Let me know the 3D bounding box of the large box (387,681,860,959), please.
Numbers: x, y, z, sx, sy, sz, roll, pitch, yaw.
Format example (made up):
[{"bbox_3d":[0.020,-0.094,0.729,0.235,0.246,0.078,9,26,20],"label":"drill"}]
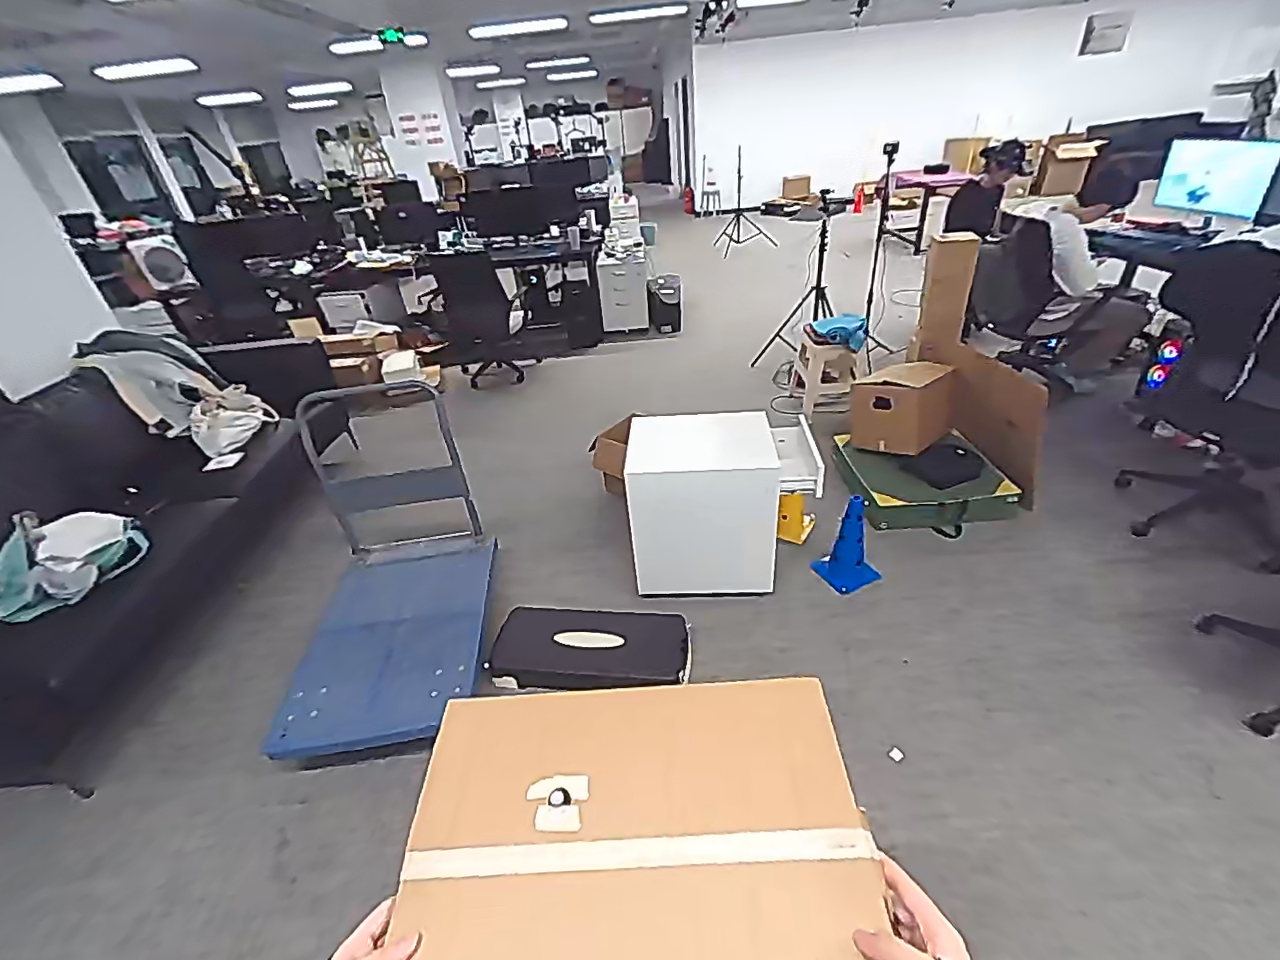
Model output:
[{"bbox_3d":[0.012,0.431,0.599,0.408,0.320,0.320,-1,54,14],"label":"large box"}]
